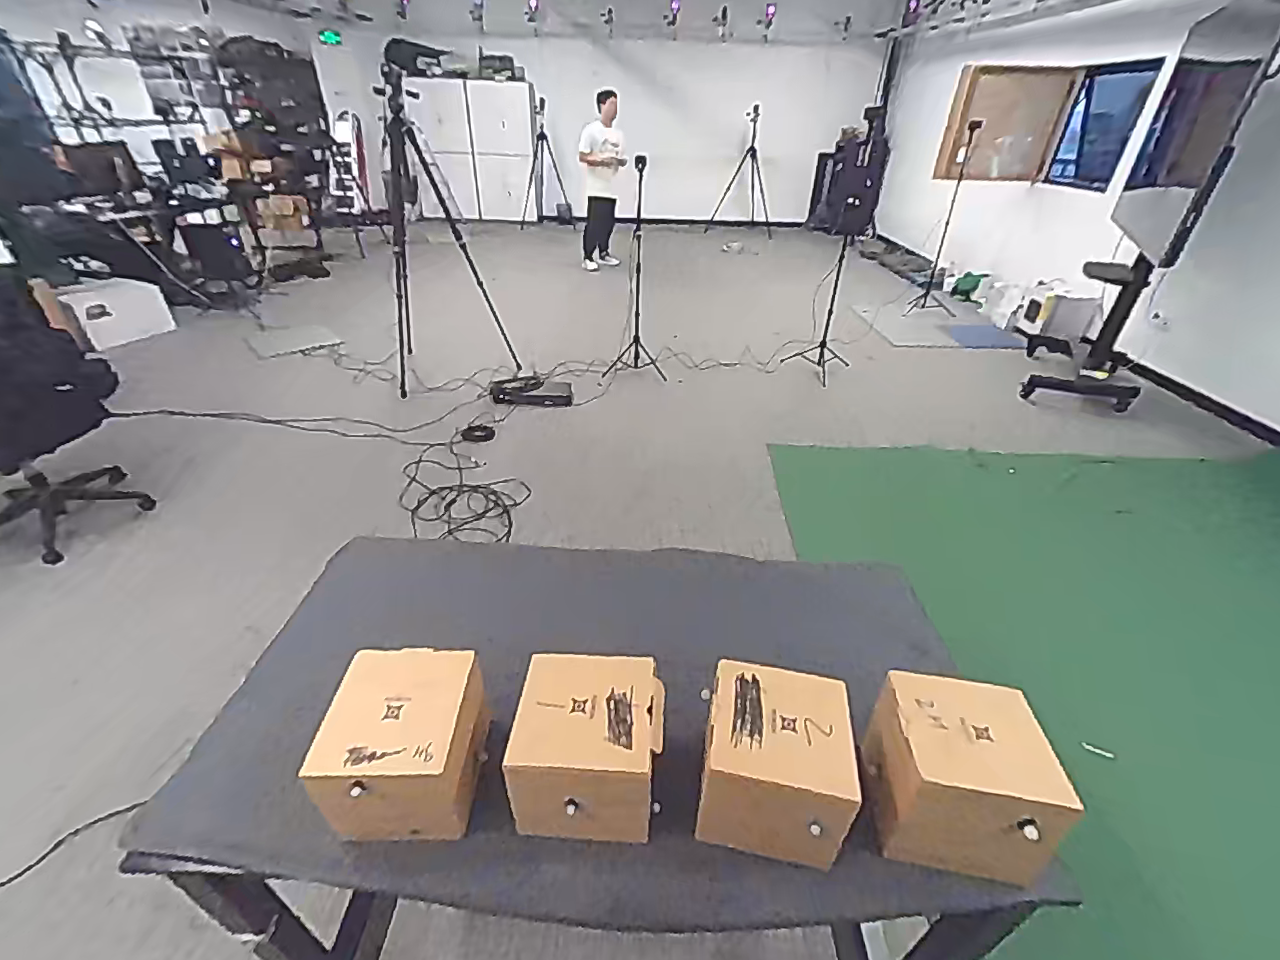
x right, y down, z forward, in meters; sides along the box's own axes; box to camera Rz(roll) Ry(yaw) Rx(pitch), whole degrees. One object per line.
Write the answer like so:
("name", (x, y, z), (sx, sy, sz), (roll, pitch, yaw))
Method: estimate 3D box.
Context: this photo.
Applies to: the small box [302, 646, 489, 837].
("small box", (-0.311, 0.350, 0.734), (0.168, 0.176, 0.179), (0, 34, -1))
